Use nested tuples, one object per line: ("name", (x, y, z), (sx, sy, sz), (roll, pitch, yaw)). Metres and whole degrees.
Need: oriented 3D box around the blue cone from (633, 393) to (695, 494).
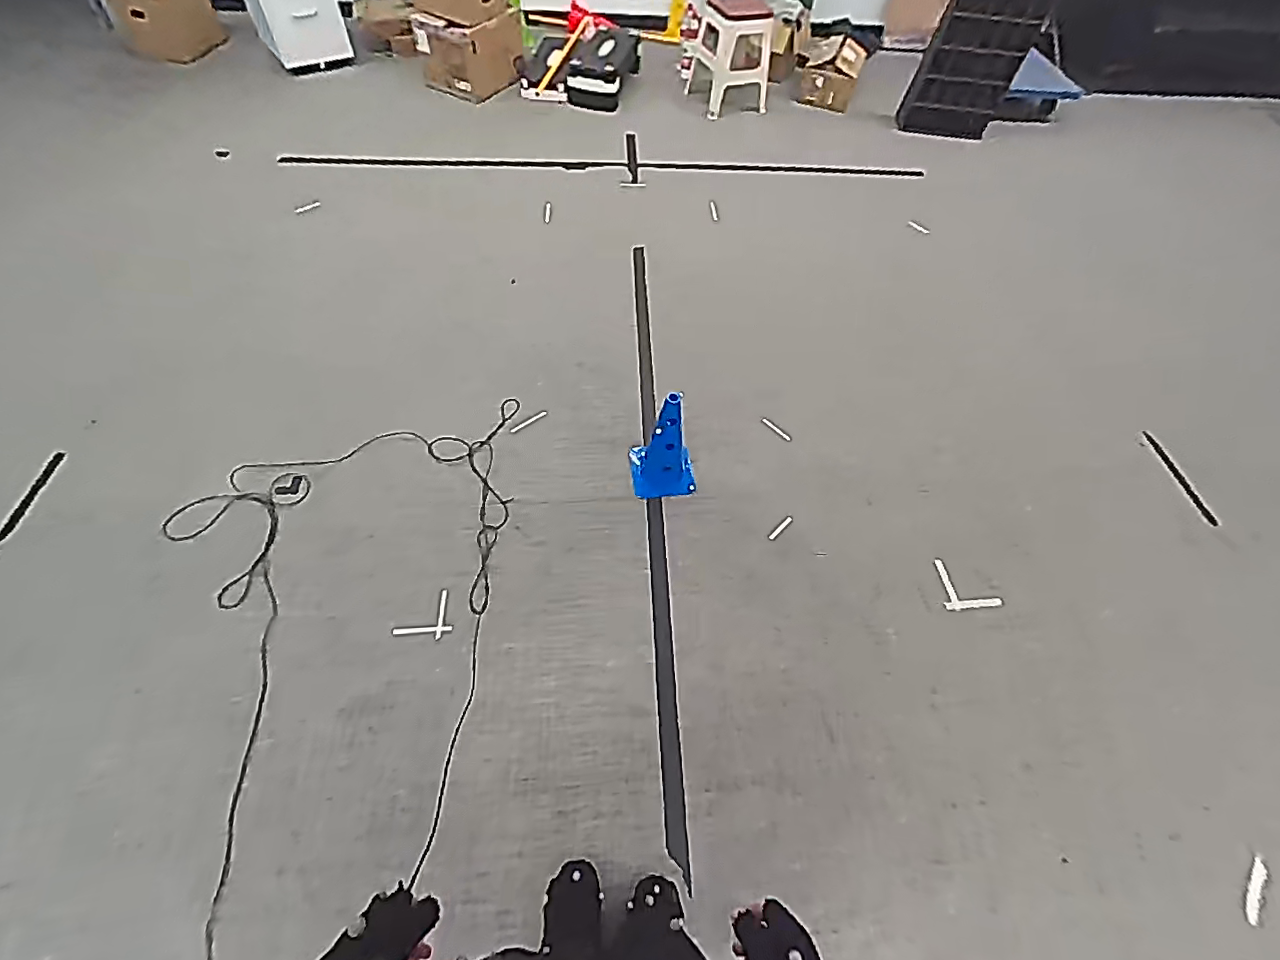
("blue cone", (0.088, -0.124, 1.638), (0.192, 0.380, 0.193), (-3, 57, -7))
